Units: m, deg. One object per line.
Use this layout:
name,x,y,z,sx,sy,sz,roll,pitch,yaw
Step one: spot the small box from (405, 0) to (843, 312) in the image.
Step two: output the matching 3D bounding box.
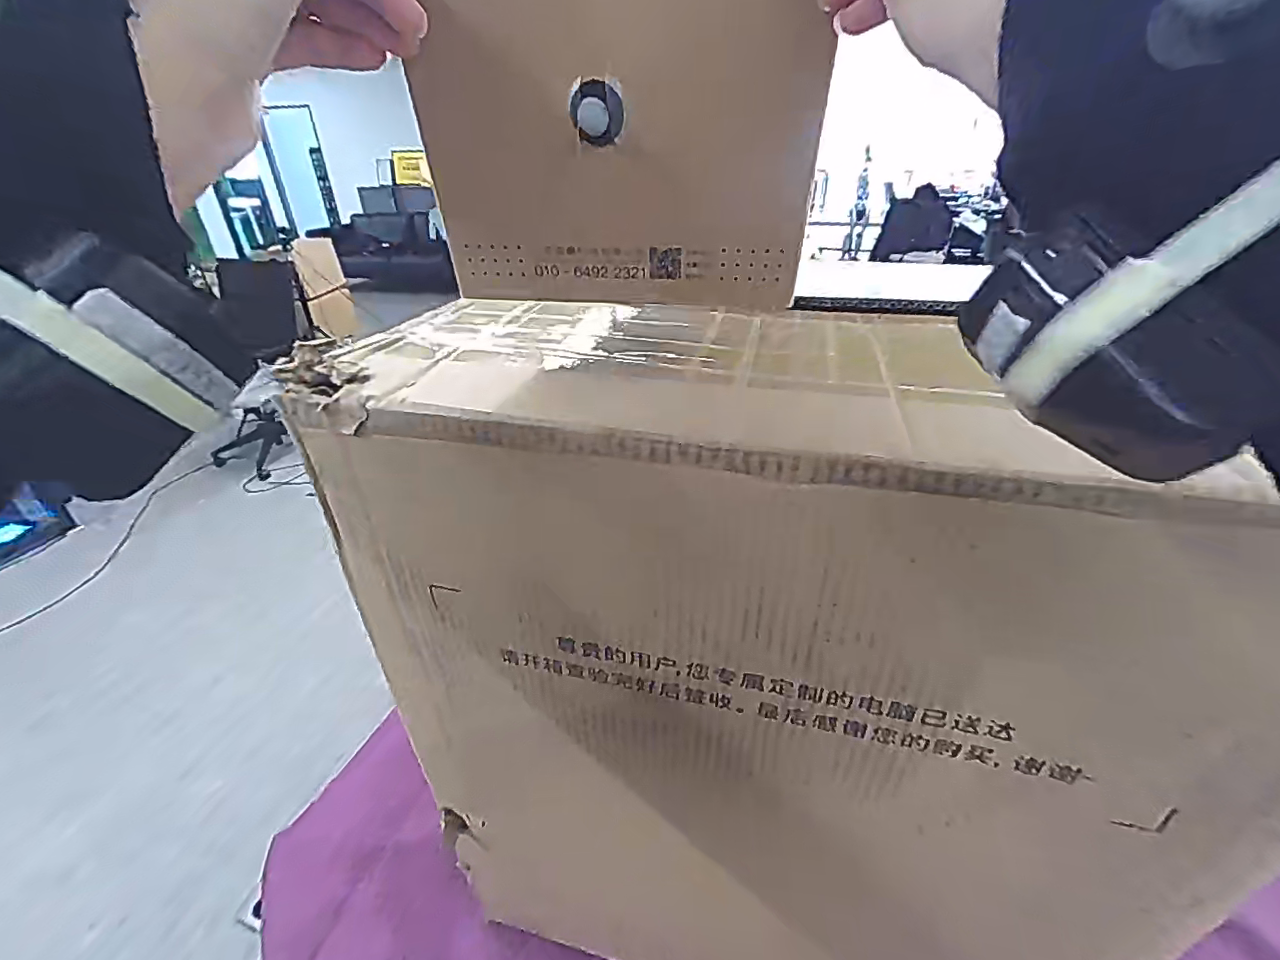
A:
small box,0.003,-0.199,0.277,0.168,0.176,0.179,4,42,6
